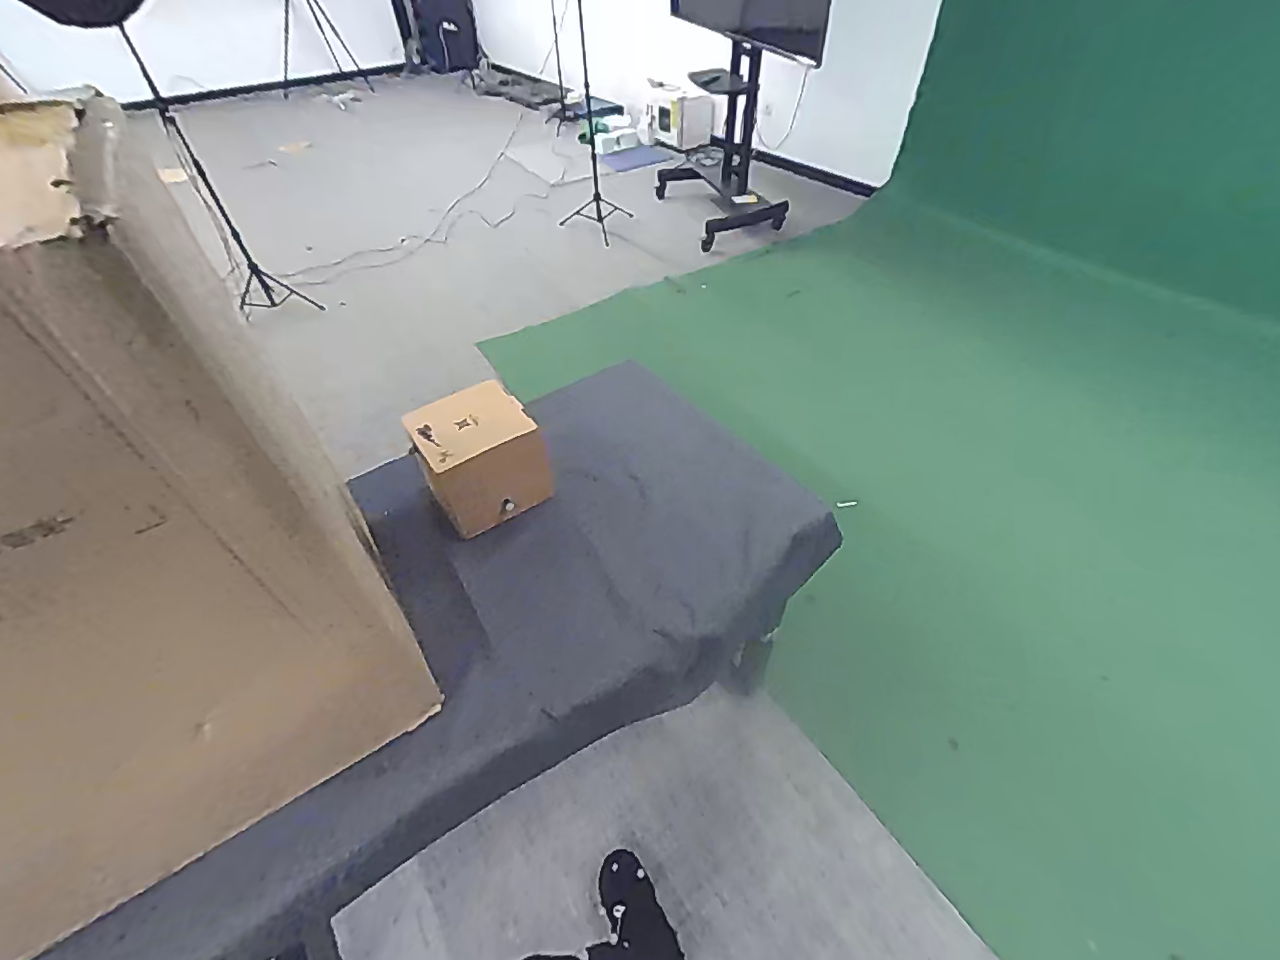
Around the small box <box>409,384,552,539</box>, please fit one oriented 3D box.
[{"bbox_3d":[-0.267,-0.032,0.943,0.179,0.176,0.168,-29,52,-22],"label":"small box"}]

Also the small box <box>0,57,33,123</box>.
[{"bbox_3d":[-0.539,-0.295,0.314,0.179,0.176,0.168,-26,46,-23],"label":"small box"}]
